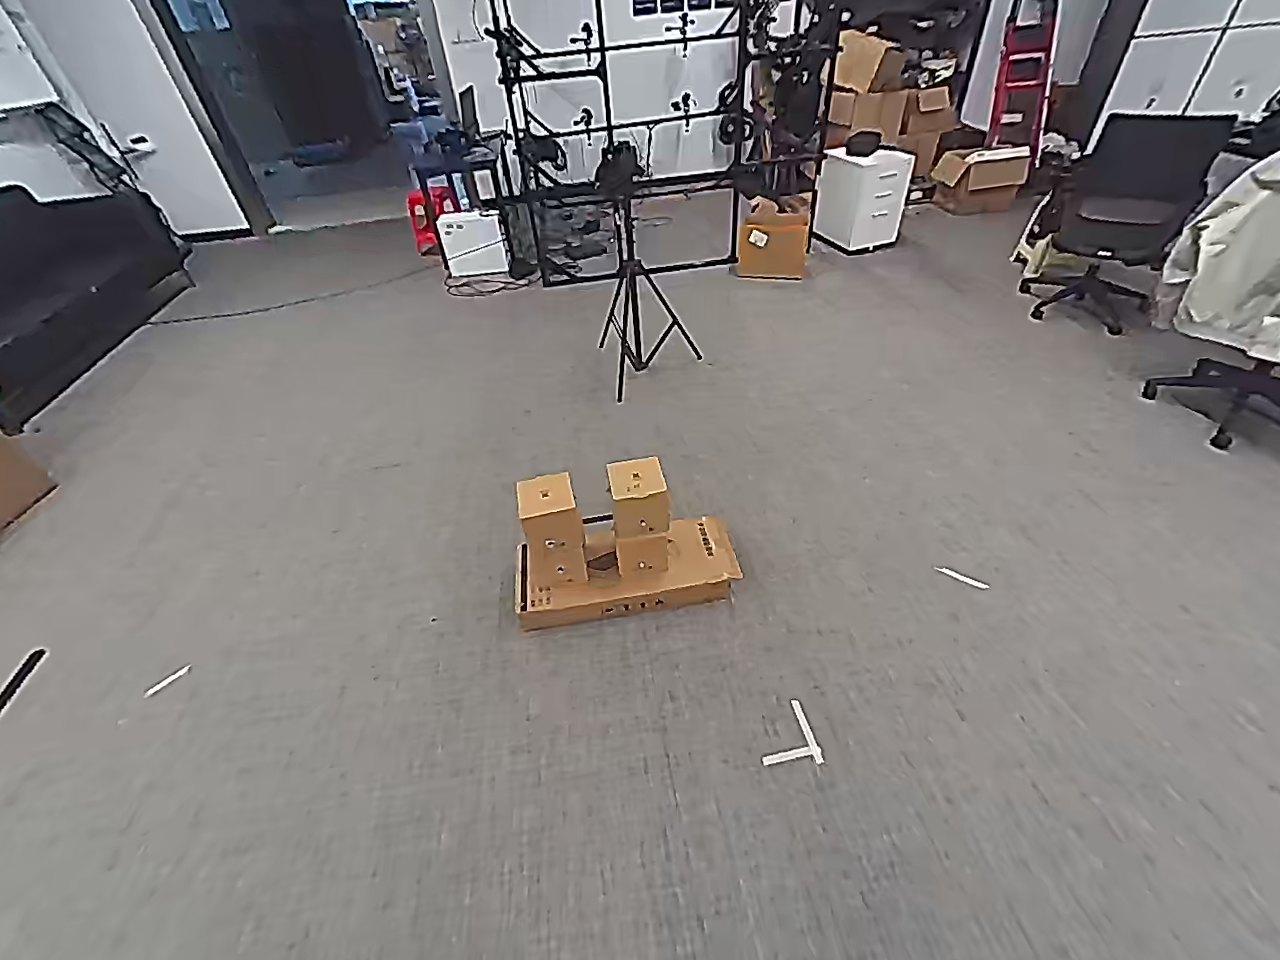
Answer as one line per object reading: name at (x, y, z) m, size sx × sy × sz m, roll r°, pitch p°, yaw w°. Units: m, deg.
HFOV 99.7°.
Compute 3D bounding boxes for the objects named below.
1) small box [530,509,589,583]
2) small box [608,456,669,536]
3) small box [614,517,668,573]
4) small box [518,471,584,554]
small box at (-0.263, 0.224, 1.787) m, size 0.168 × 0.176 × 0.179 m, roll -8°, pitch 42°, yaw -3°
small box at (-0.006, 0.050, 1.708) m, size 0.168 × 0.176 × 0.179 m, roll -10°, pitch 41°, yaw -4°
small box at (0.002, 0.185, 1.806) m, size 0.168 × 0.176 × 0.179 m, roll -7°, pitch 42°, yaw 0°
small box at (-0.277, 0.101, 1.679) m, size 0.168 × 0.176 × 0.179 m, roll -13°, pitch 42°, yaw -8°
